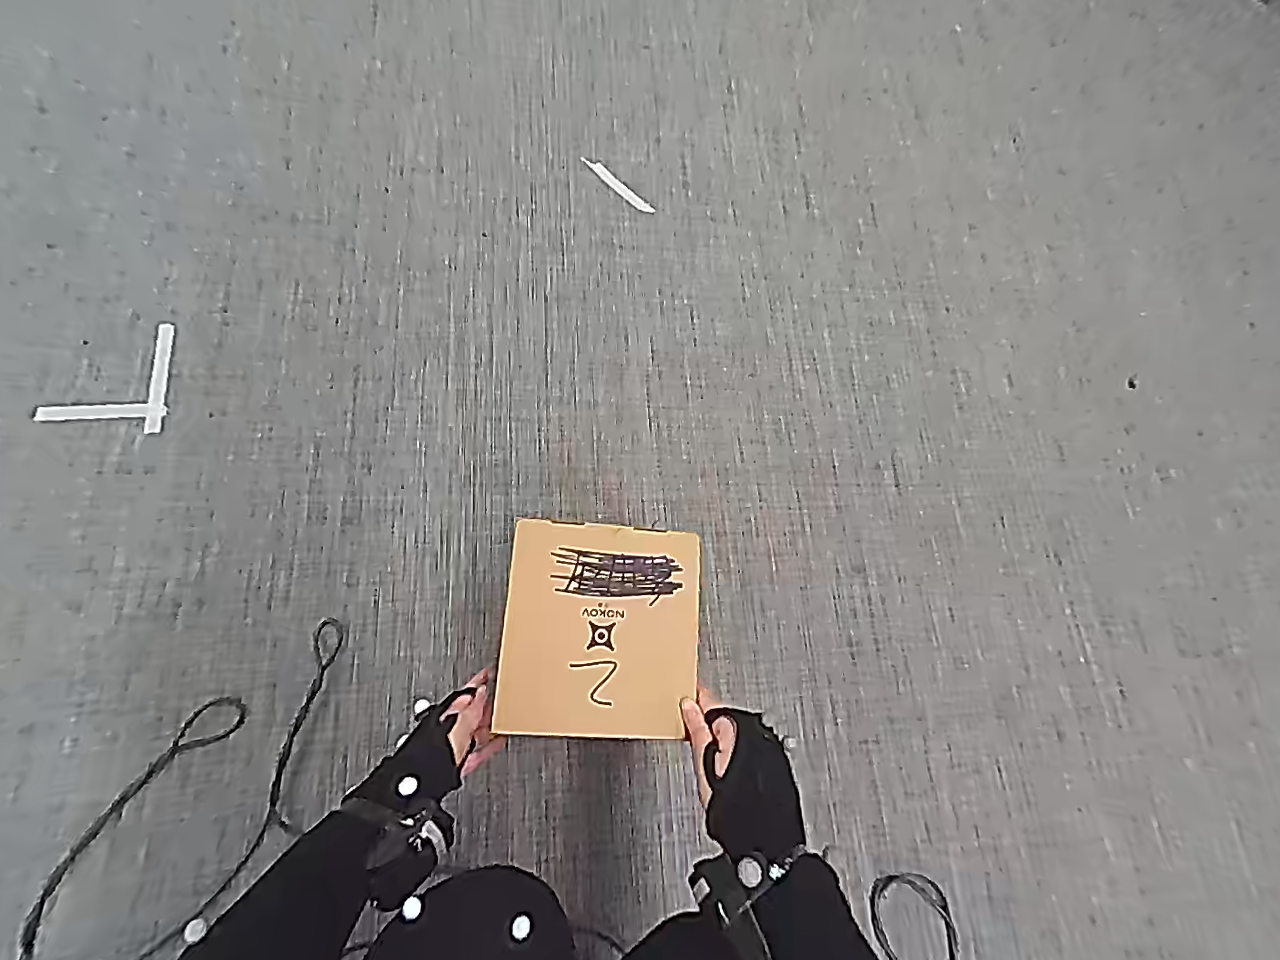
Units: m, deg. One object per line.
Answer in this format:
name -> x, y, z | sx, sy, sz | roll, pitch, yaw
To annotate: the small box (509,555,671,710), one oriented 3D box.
small box -> -0.062, 0.195, 0.689 | 0.179, 0.176, 0.168 | 4, 73, -7
